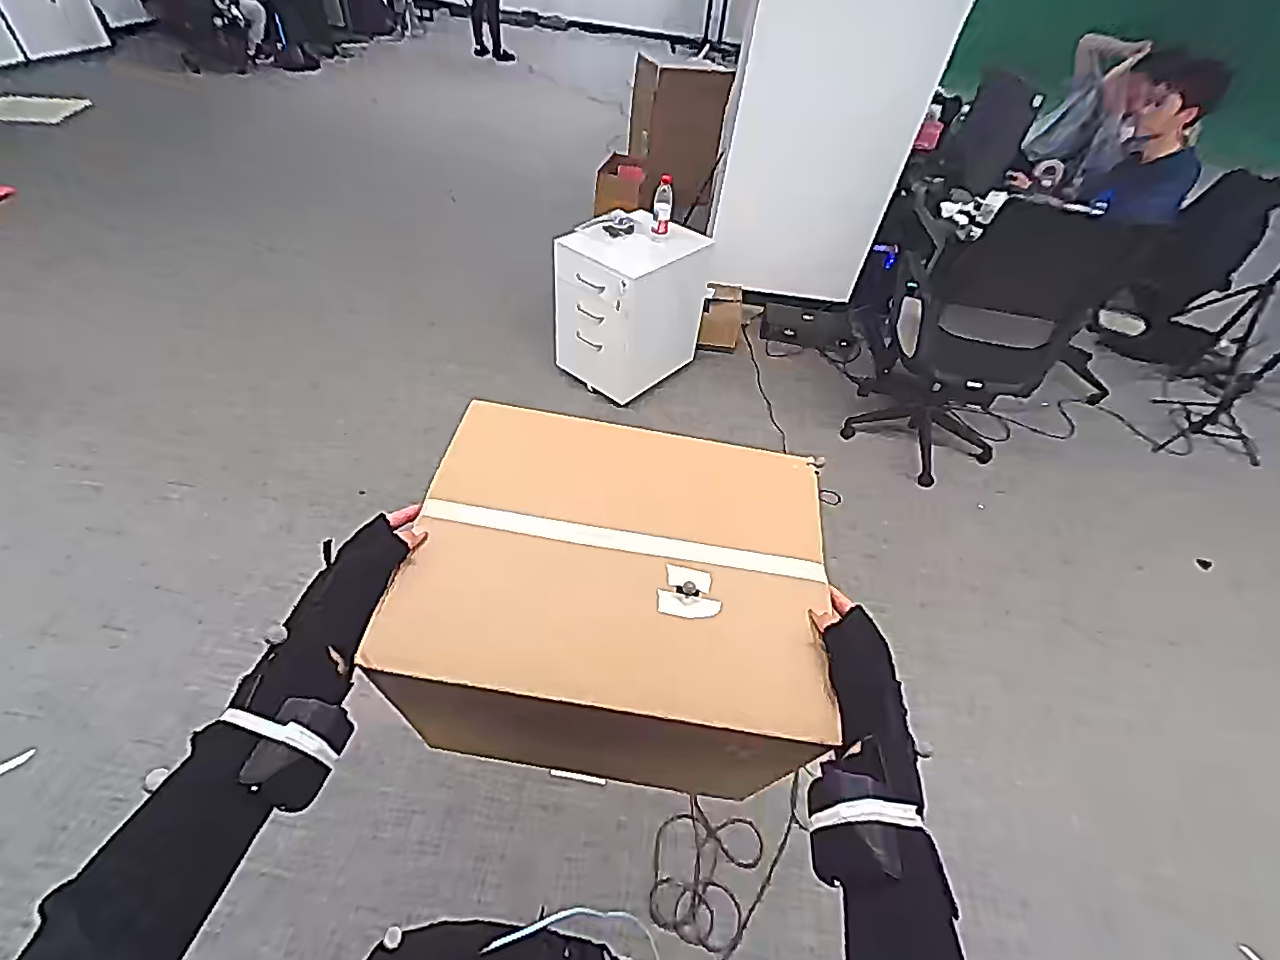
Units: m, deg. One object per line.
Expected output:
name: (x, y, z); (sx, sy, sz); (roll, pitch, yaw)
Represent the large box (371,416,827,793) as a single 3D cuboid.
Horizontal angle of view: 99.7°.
large box: (-0.036, 0.163, 0.666); (0.408, 0.320, 0.320); (10, 52, -1)
